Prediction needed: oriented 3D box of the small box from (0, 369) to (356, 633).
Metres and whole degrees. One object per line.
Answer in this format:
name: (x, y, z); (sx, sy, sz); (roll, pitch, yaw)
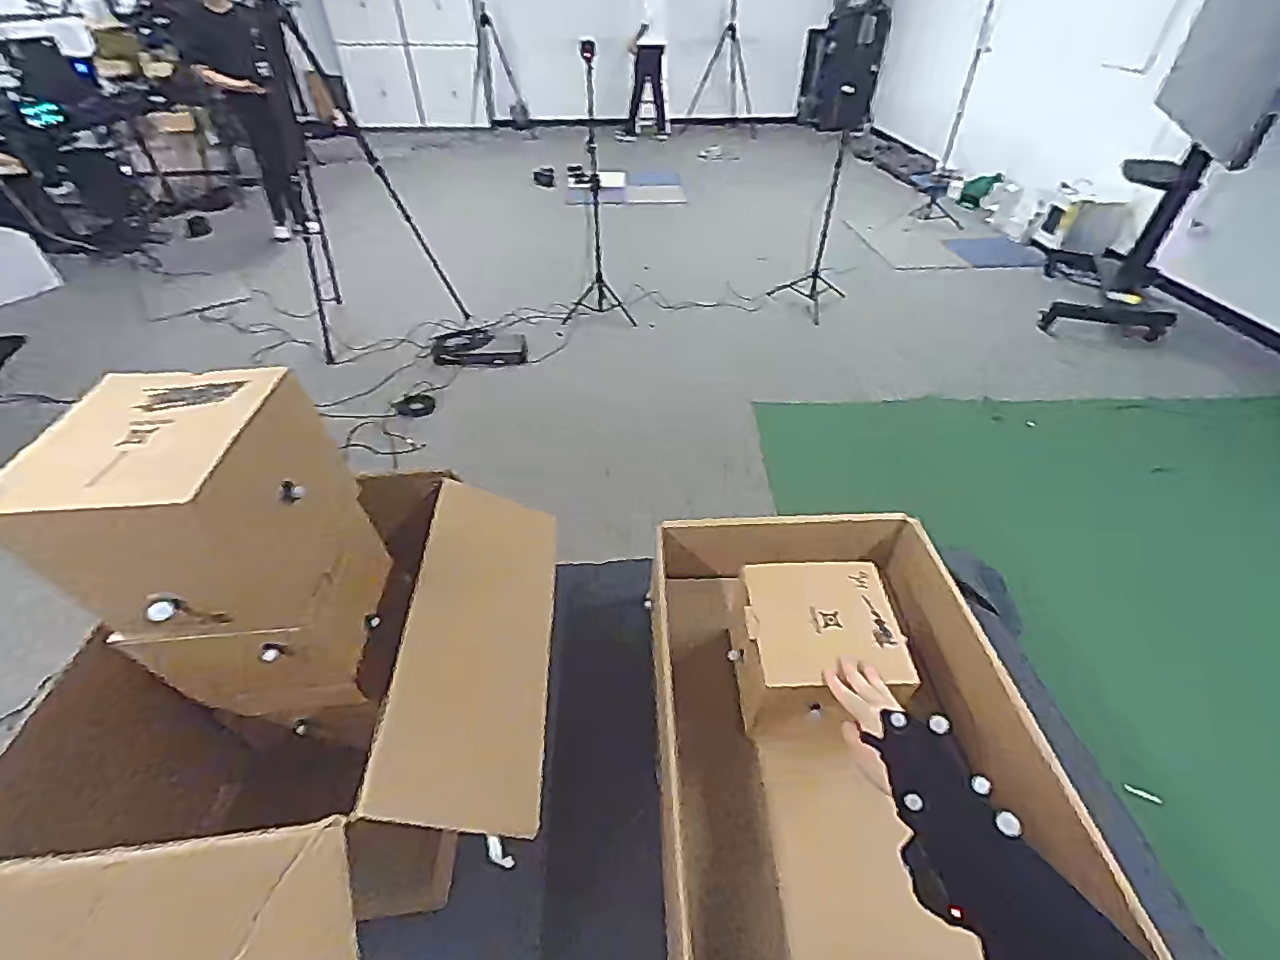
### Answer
small box: (-0.390, 0.019, 0.495); (0.168, 0.176, 0.179); (-3, 46, -1)
